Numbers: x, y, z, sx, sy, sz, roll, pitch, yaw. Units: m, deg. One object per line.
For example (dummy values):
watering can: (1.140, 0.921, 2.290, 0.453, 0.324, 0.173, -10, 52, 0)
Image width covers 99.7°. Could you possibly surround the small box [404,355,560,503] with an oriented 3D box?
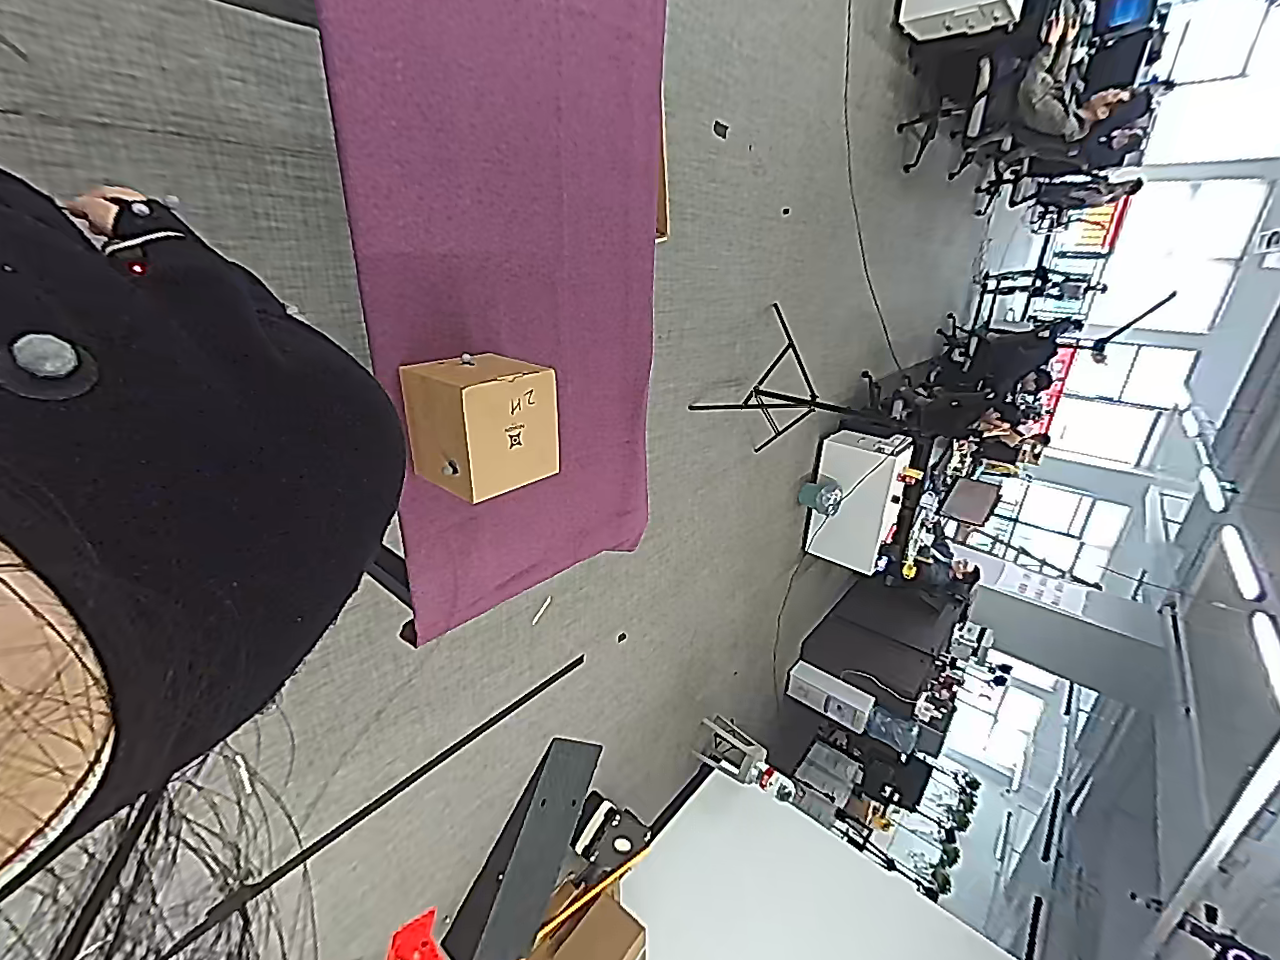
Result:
small box: (-0.244, -0.089, 0.849, 0.168, 0.176, 0.179, -25, 124, -45)
